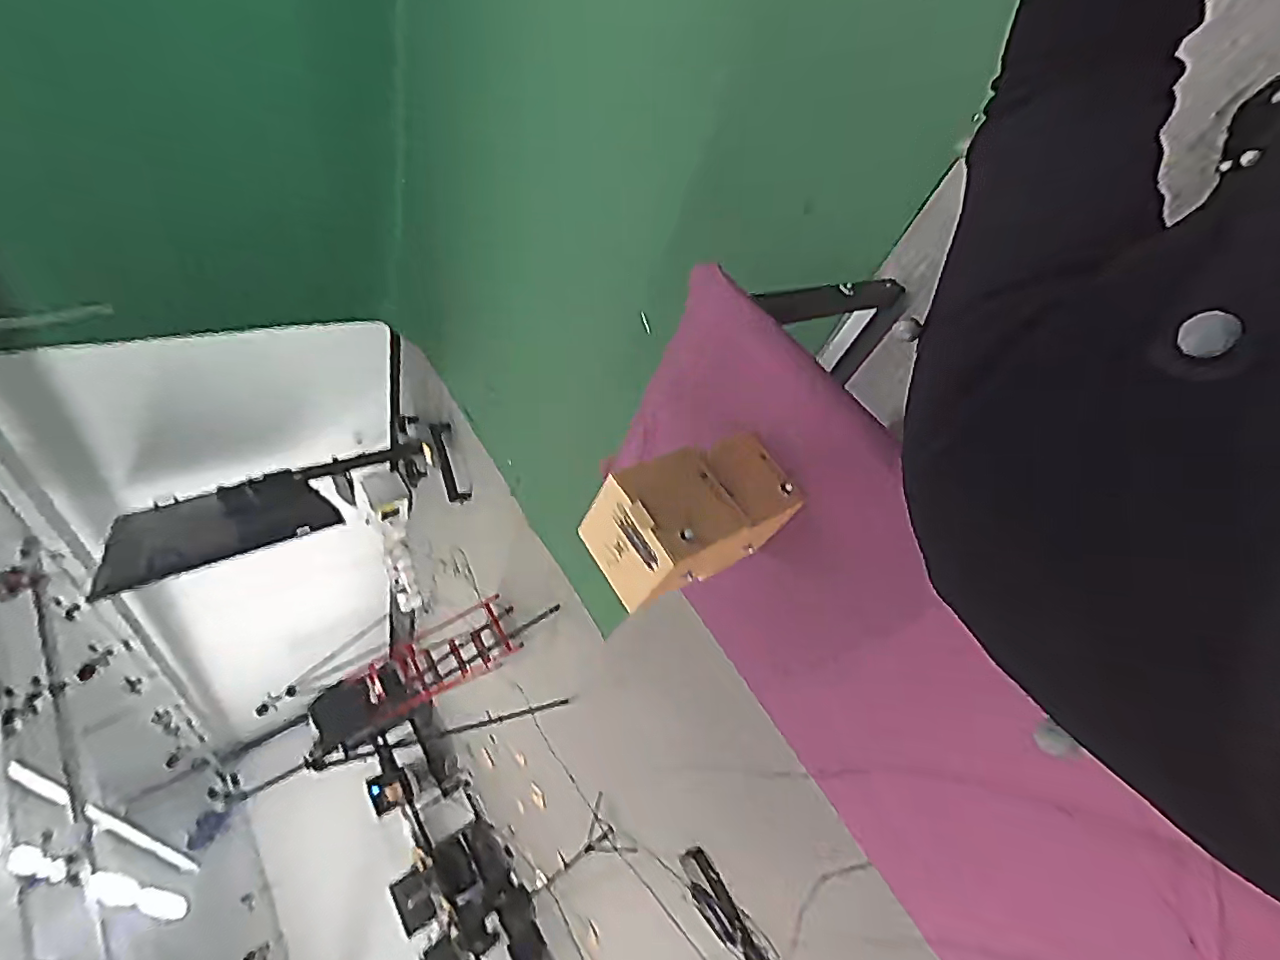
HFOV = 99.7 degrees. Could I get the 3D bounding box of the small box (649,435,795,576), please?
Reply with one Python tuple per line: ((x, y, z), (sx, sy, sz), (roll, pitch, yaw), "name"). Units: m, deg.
((0.152, 0.041, 0.978), (0.168, 0.176, 0.179), (57, 141, 19), "small box")
